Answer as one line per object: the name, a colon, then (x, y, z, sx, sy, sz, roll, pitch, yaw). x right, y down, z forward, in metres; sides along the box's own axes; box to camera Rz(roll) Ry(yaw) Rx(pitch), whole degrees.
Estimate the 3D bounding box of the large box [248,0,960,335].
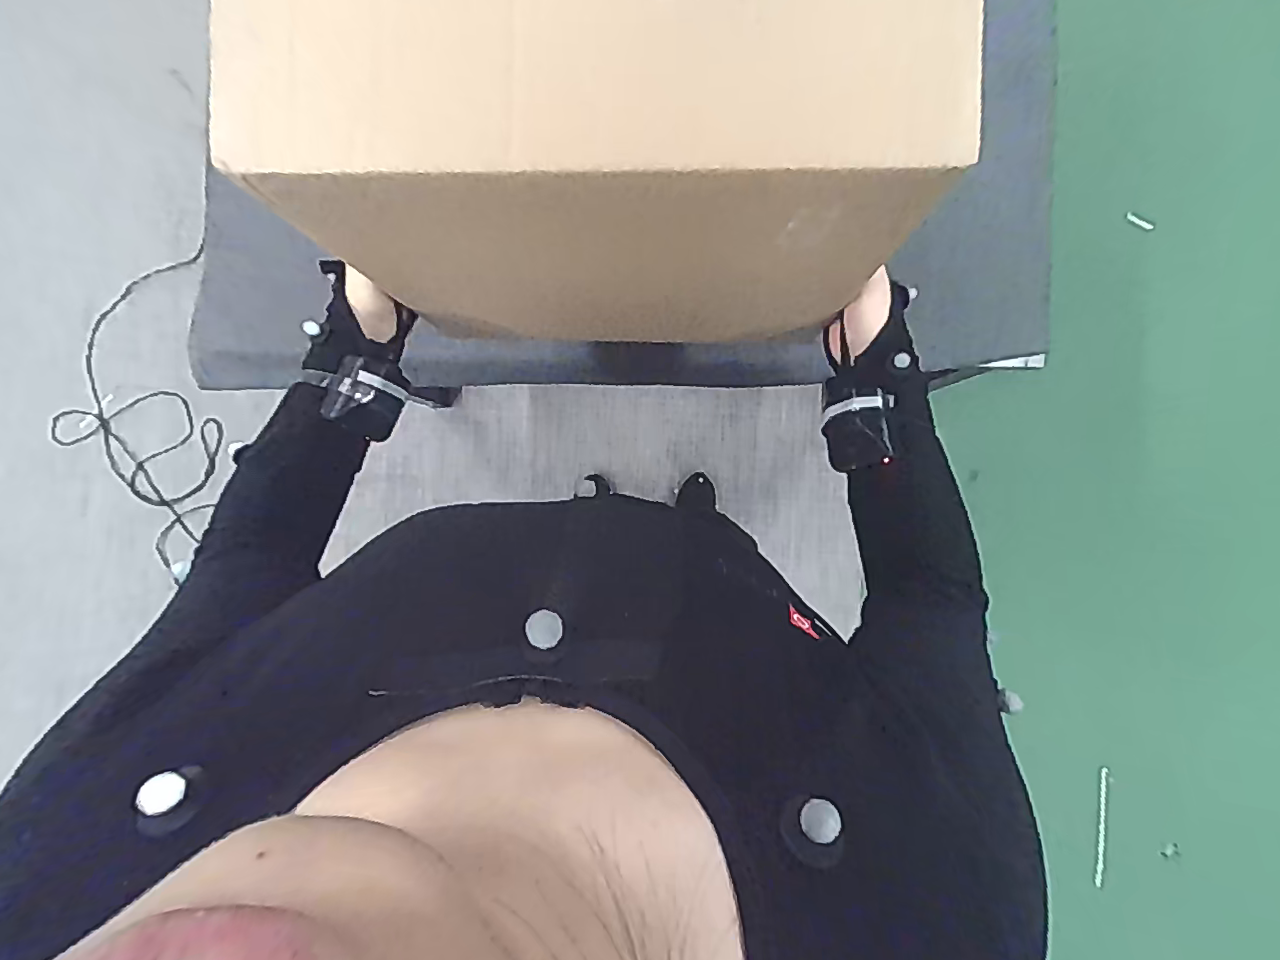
large box: (-0.019, -0.319, 0.454, 0.408, 0.320, 0.320, 1, 89, 2)
